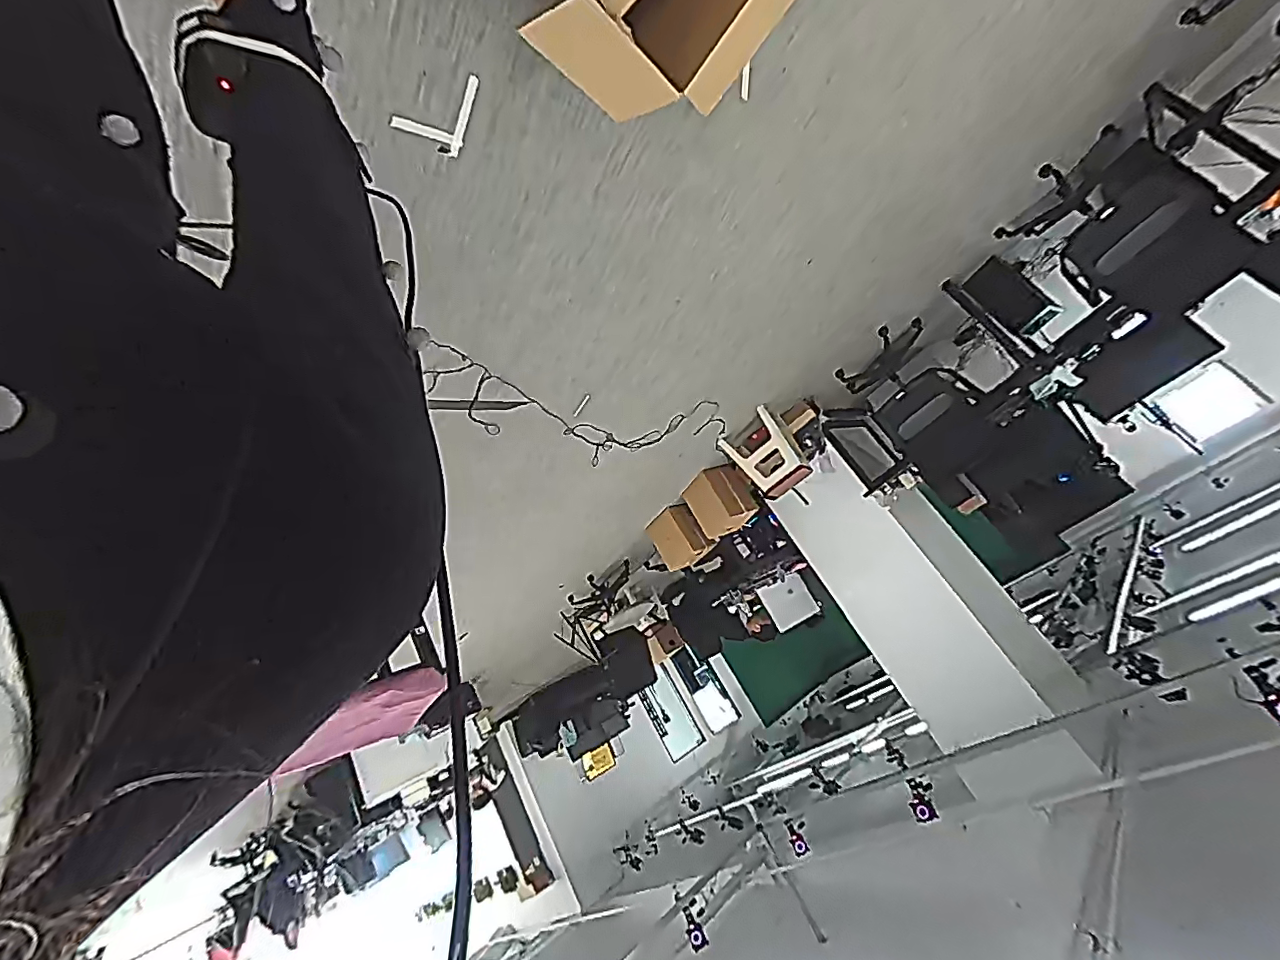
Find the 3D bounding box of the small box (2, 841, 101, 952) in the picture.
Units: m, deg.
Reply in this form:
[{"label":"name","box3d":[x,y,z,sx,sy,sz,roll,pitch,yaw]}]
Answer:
[{"label":"small box","box3d":[-1.642,1.158,1.511,0.179,0.176,0.168,-8,147,-46]}]
